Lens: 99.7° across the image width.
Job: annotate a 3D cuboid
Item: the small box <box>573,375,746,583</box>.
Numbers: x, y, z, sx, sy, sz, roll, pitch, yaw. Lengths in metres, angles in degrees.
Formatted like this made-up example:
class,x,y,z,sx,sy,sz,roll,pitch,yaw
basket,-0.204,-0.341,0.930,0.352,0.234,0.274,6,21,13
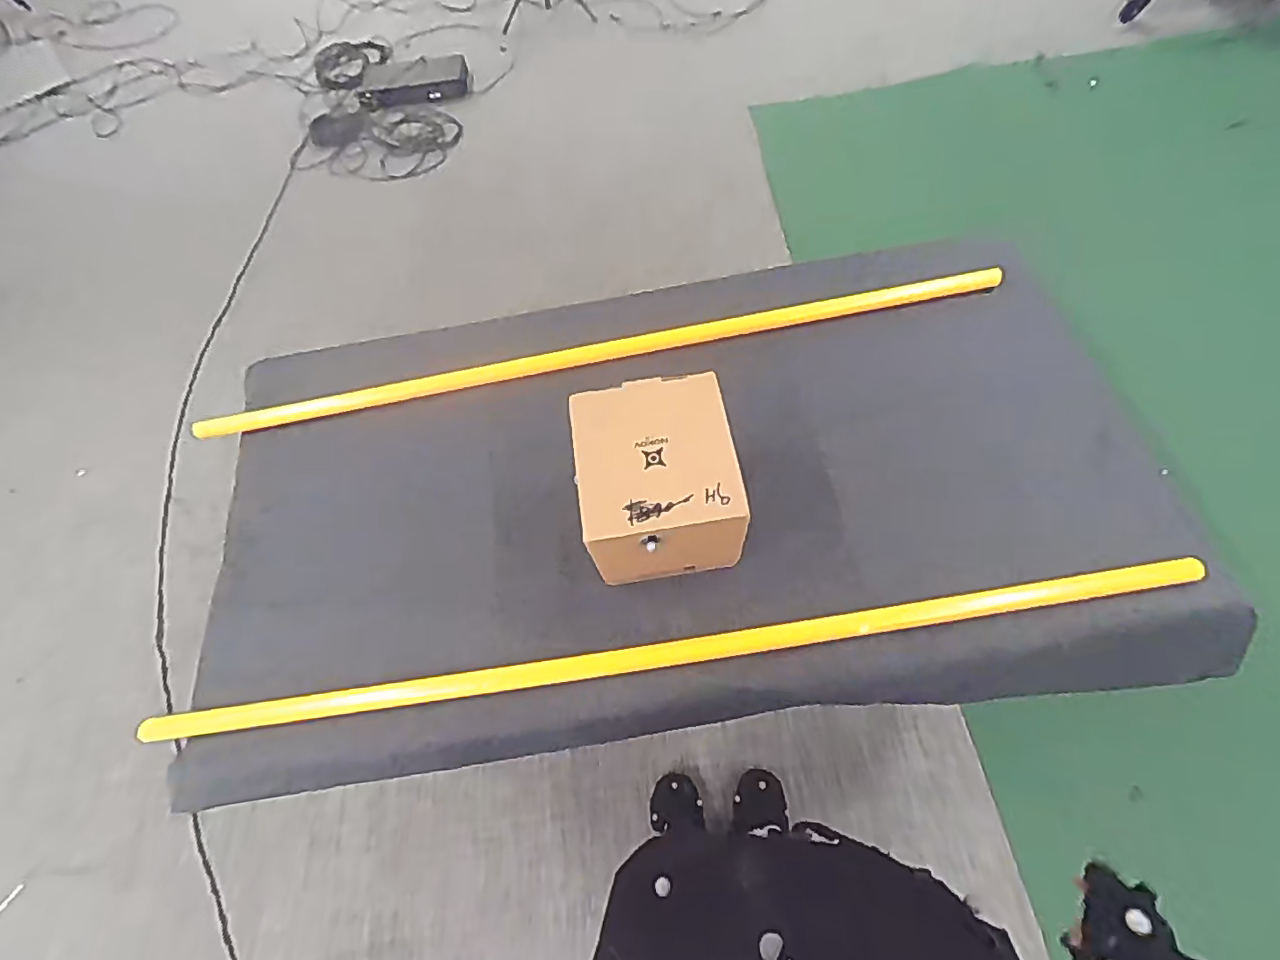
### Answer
class,x,y,z,sx,sy,sz,roll,pitch,yaw
small box,0.021,0.005,0.639,0.168,0.176,0.179,-10,63,2
